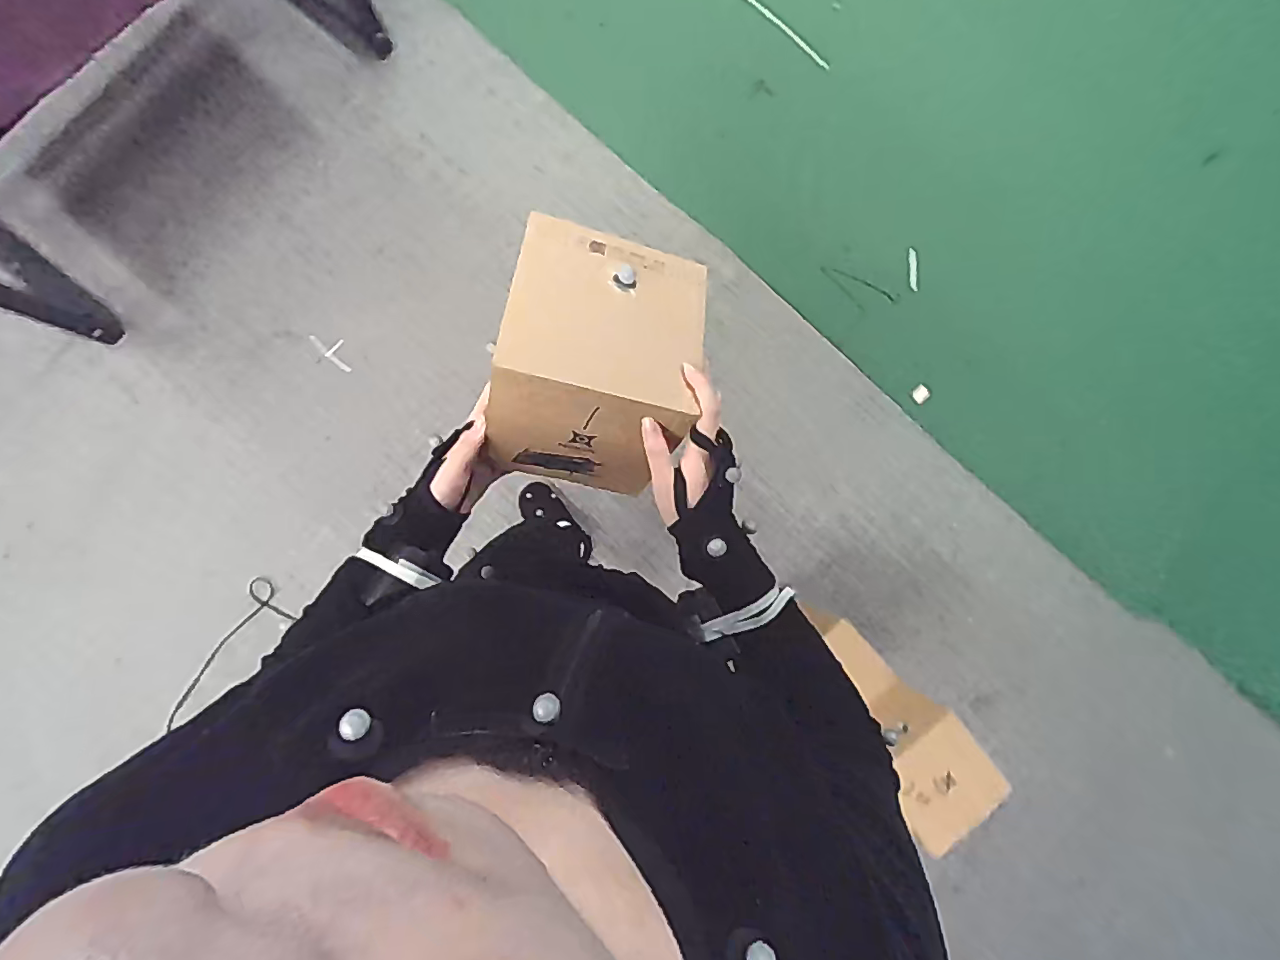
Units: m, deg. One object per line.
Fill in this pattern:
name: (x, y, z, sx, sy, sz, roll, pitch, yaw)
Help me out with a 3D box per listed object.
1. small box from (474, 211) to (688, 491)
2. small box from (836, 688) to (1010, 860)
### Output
small box: (-0.057, -0.112, 0.519, 0.168, 0.179, 0.176, 11, 62, -14)
small box: (0.486, 0.503, 0.957, 0.179, 0.176, 0.168, -37, 88, -4)
